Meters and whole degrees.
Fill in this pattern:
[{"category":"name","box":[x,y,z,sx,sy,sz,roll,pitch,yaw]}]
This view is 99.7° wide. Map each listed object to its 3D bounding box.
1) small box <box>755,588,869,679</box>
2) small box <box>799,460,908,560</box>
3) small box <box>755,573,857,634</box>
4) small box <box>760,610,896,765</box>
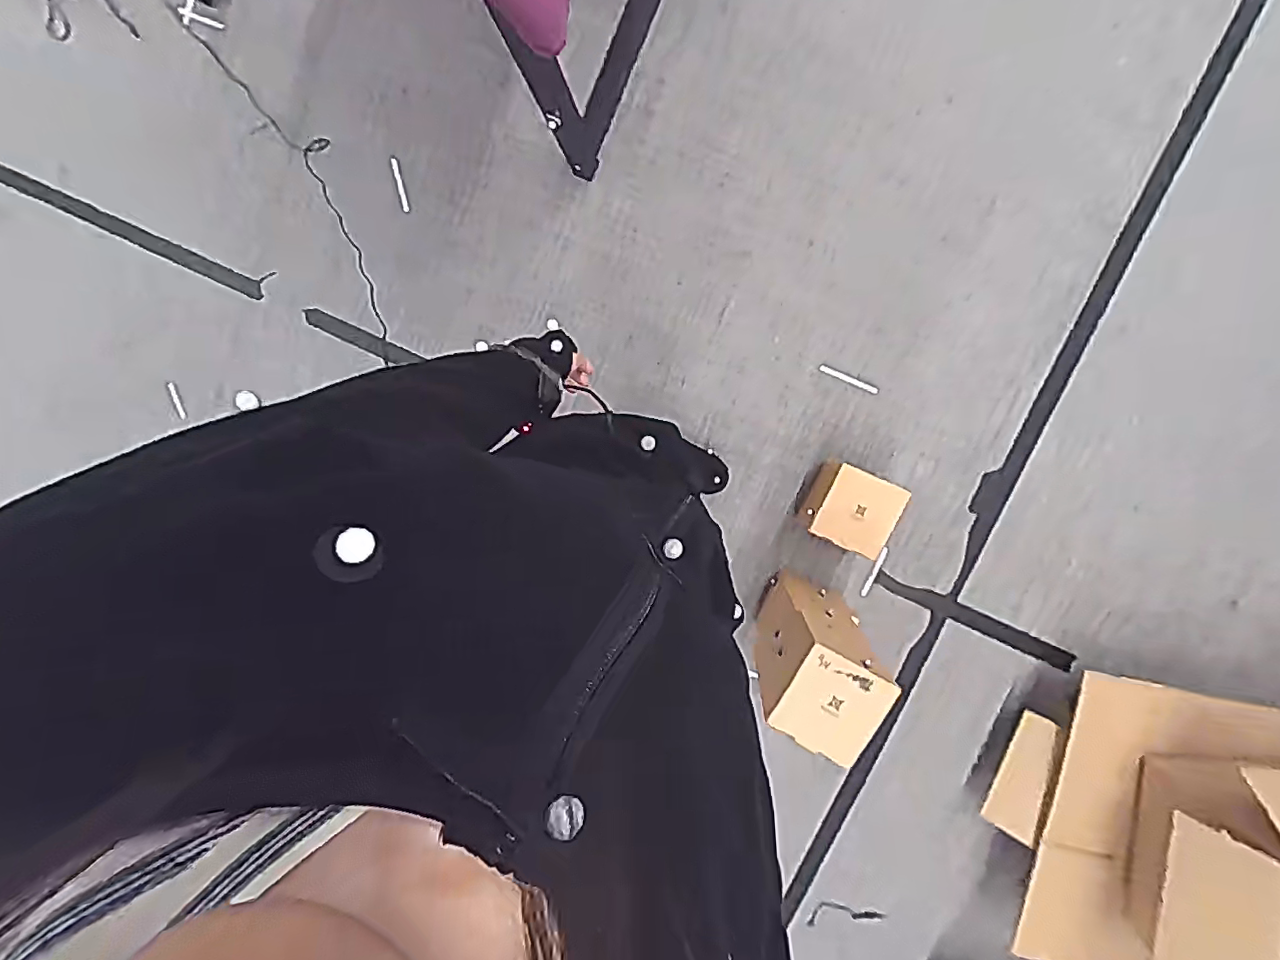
[{"category":"small box","box":[0.362,0.362,1.178,0.168,0.176,0.179,26,99,4]},{"category":"small box","box":[0.499,0.062,1.296,0.168,0.176,0.179,25,99,3]},{"category":"small box","box":[0.398,0.346,1.338,0.179,0.176,0.168,24,99,3]},{"category":"small box","box":[0.339,0.379,1.016,0.168,0.176,0.179,29,100,3]}]
